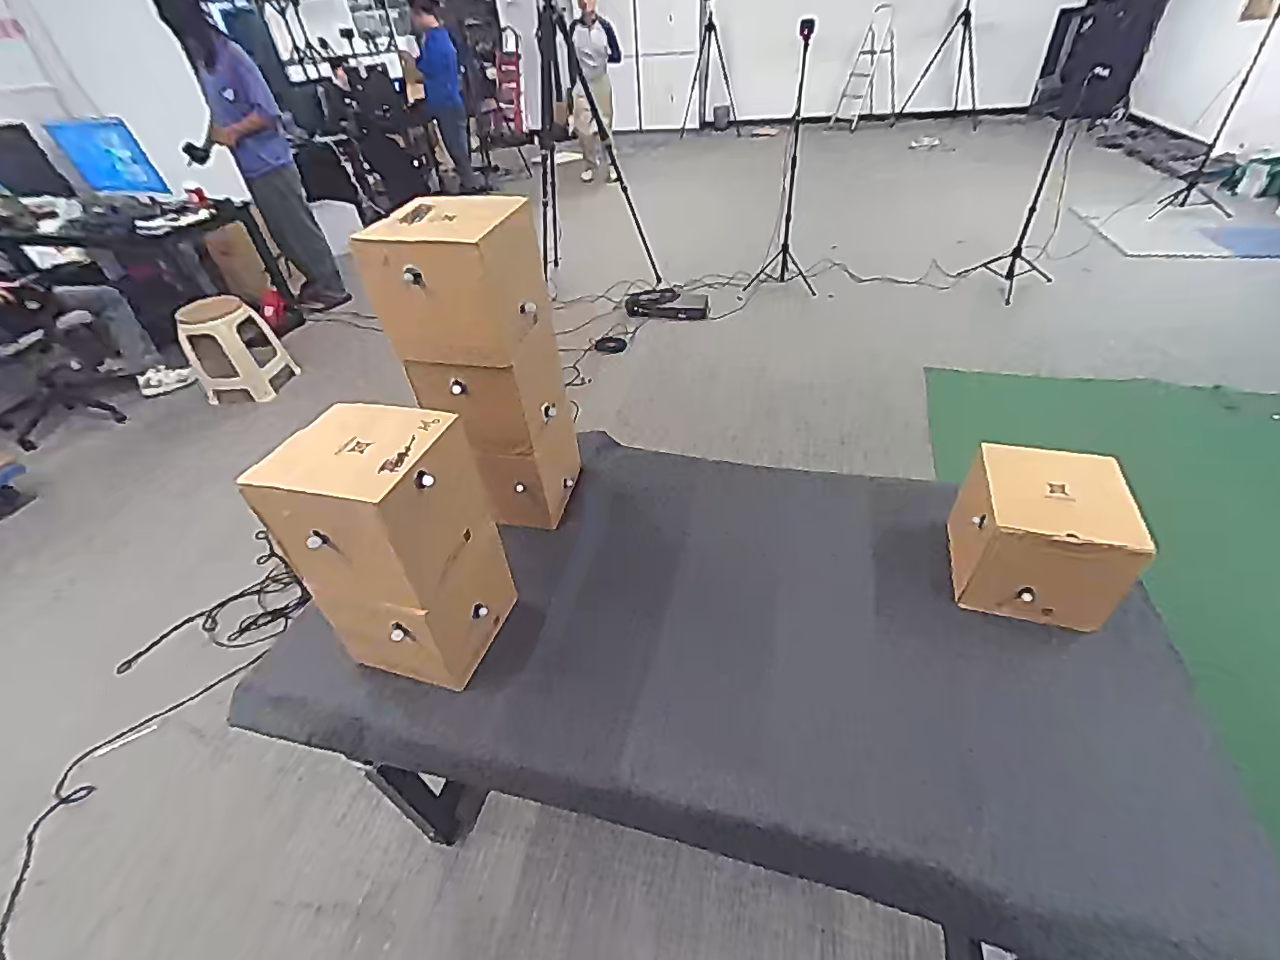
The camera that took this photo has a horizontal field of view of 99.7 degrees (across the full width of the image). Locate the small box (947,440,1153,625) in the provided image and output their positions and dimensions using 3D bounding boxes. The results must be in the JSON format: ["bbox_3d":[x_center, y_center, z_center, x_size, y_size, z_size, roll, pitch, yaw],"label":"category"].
[{"bbox_3d":[0.548,0.071,0.757,0.168,0.176,0.179,9,45,16],"label":"small box"}]

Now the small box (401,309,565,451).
[{"bbox_3d":[-0.234,-0.161,0.857,0.179,0.176,0.168,6,45,10],"label":"small box"}]

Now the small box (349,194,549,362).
[{"bbox_3d":[-0.244,-0.276,0.739,0.179,0.176,0.168,7,45,12],"label":"small box"}]

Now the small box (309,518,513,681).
[{"bbox_3d":[-0.298,0.152,0.749,0.179,0.176,0.168,9,40,15],"label":"small box"}]

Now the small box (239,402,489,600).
[{"bbox_3d":[-0.309,0.023,0.649,0.179,0.176,0.168,6,40,13],"label":"small box"}]
